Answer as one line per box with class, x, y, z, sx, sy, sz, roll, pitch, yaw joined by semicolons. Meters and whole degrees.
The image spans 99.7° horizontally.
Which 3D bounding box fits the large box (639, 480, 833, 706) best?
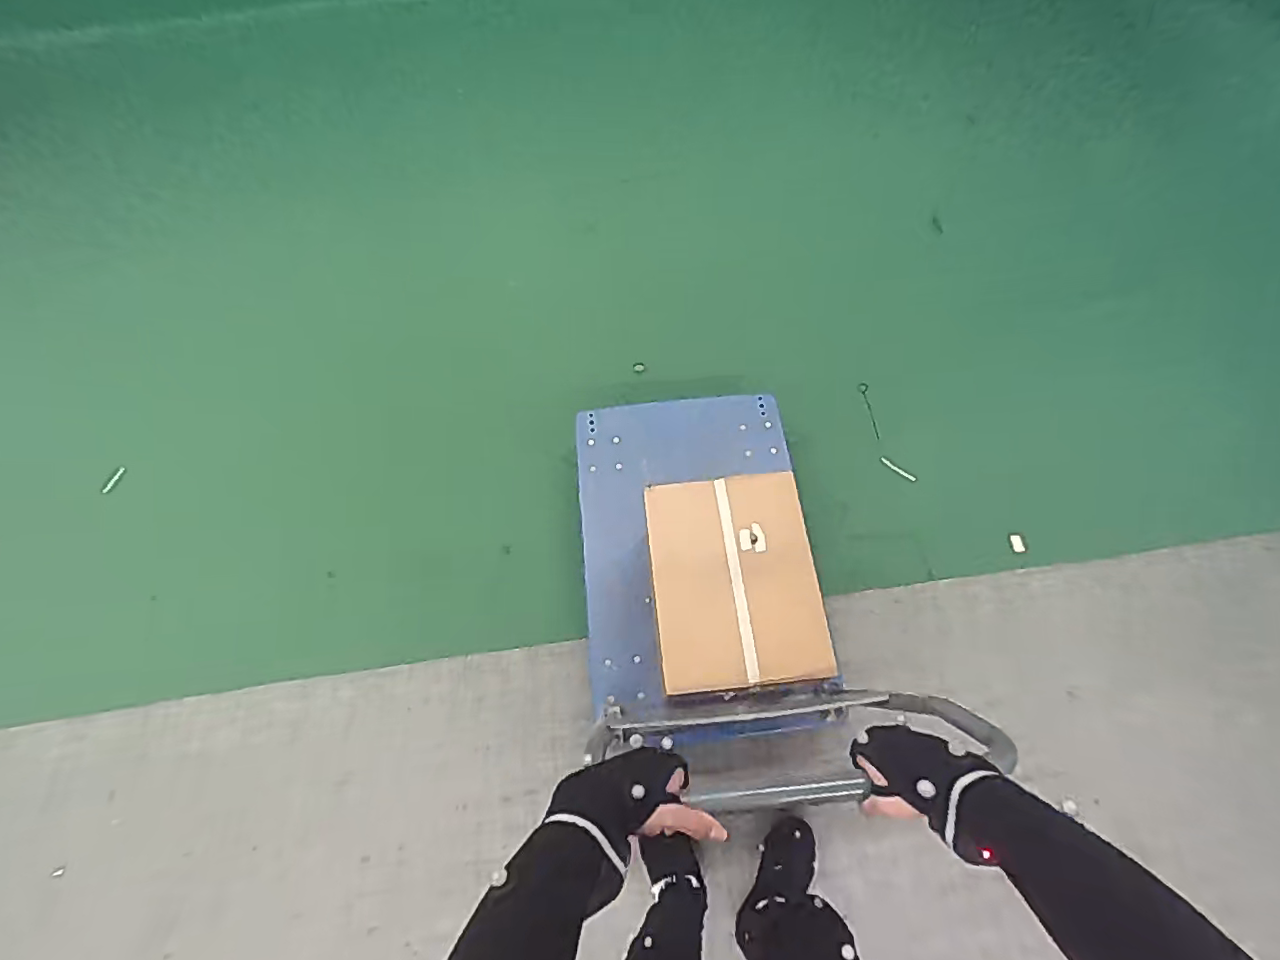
large box;0.177;0.257;1.180;0.320;0.320;0.408;-6;66;-2
